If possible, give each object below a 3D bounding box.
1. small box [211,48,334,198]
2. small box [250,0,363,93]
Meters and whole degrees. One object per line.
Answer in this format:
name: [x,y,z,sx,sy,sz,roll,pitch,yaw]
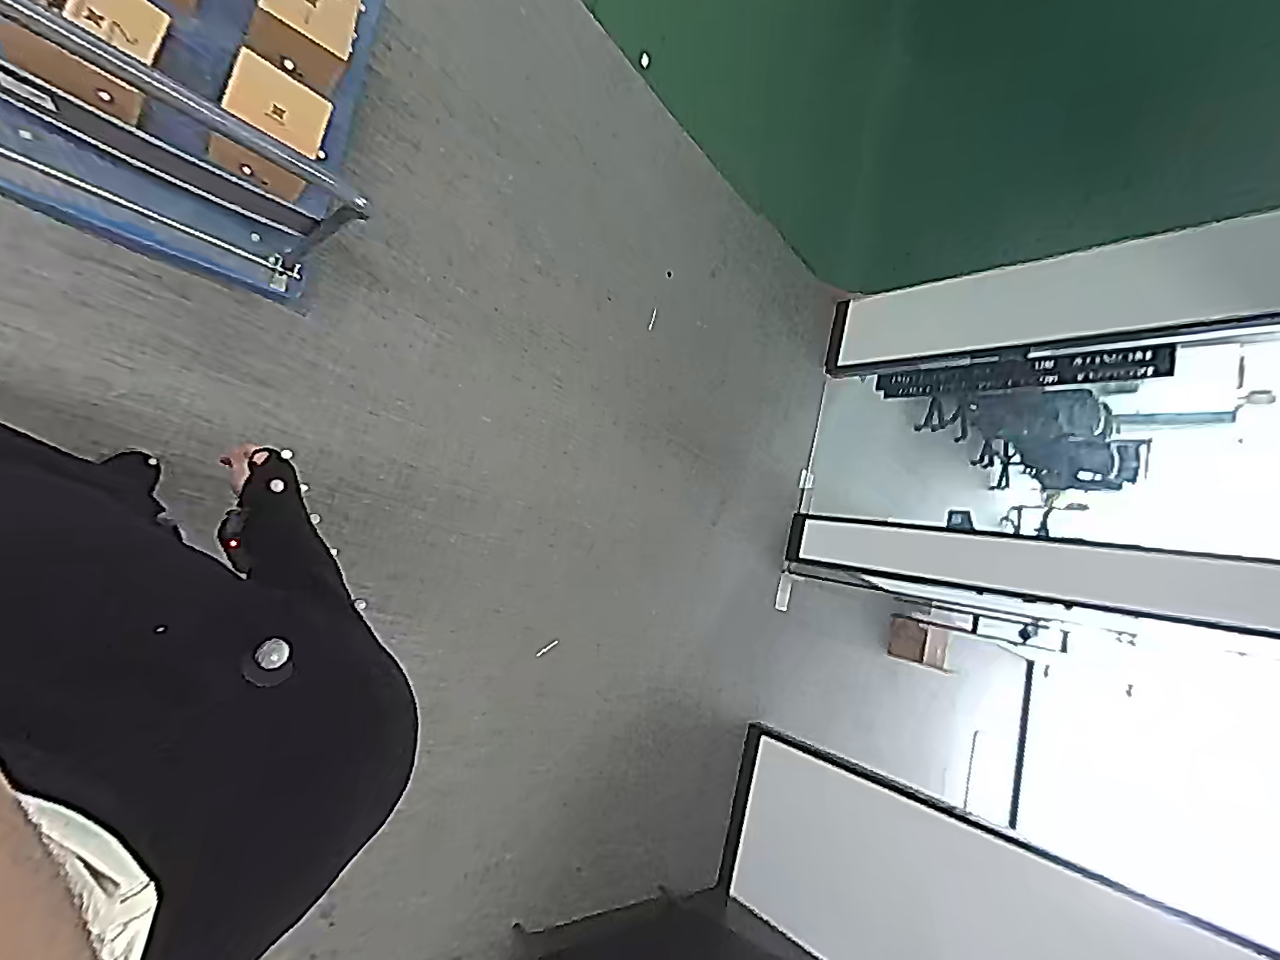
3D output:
small box: [-0.786,-0.746,1.153,0.168,0.176,0.179,19,80,-43]
small box: [-0.731,-1.009,1.182,0.168,0.176,0.179,13,85,-43]
